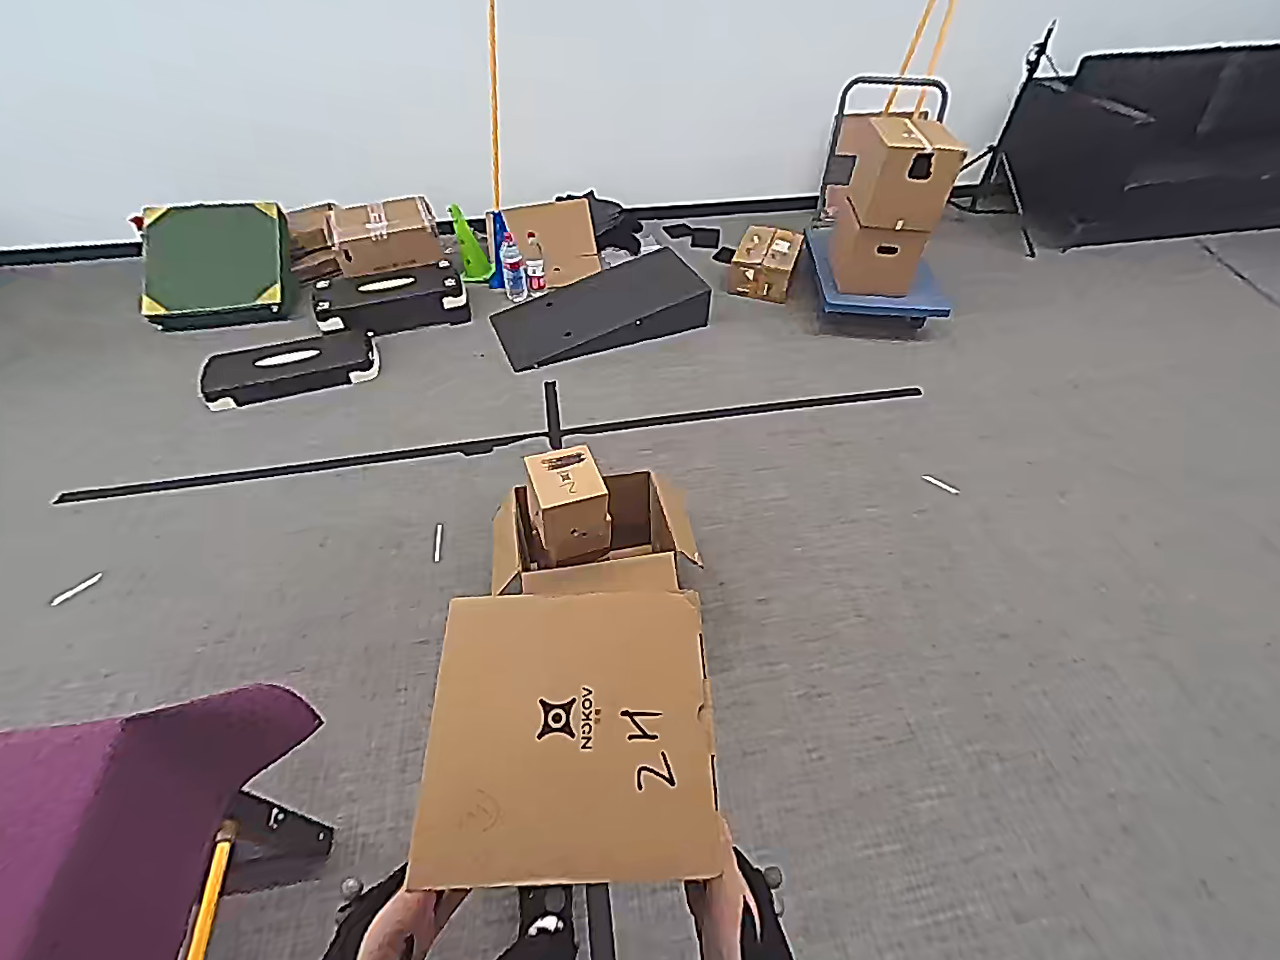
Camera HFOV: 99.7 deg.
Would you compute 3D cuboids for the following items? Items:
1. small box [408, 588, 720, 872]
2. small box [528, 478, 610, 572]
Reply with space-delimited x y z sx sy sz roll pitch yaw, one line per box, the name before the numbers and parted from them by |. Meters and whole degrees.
small box | -0.042 0.189 0.405 0.179 0.176 0.168 -1 58 -1
small box | -0.198 0.129 1.521 0.179 0.176 0.168 -22 54 -24
